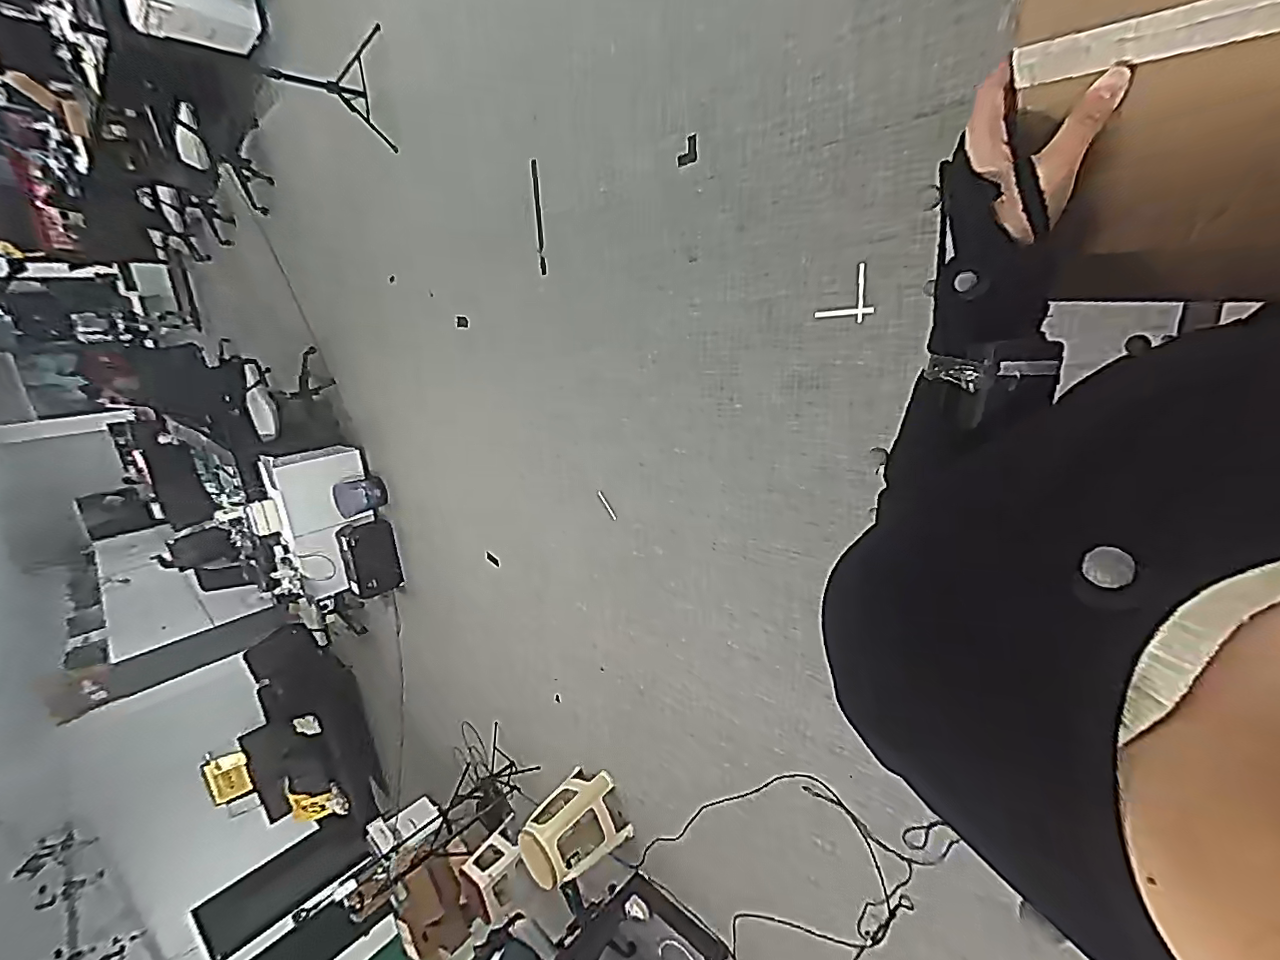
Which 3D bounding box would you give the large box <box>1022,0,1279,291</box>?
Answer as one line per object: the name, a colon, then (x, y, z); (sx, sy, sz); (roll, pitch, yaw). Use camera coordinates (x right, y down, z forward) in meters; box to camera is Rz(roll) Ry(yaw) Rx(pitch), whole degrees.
large box: (0.462, -0.317, 0.256); (0.408, 0.320, 0.320); (16, 146, 42)
